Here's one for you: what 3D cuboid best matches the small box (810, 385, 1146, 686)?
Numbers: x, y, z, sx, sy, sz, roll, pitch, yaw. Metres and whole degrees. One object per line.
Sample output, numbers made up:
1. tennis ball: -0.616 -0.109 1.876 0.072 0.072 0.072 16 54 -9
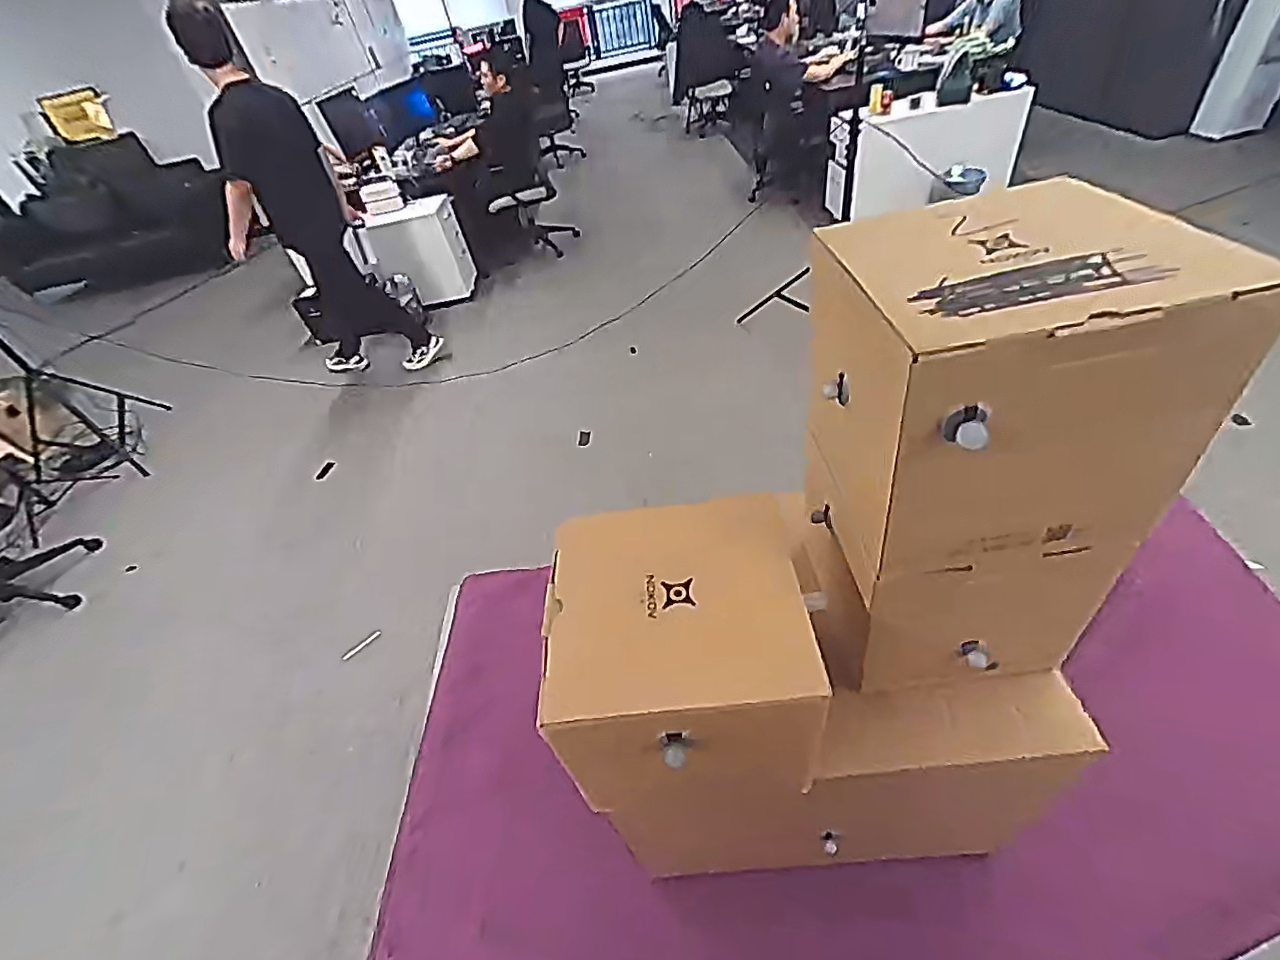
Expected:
1. small box: 0.248 0.047 0.459 0.168 0.176 0.179 -10 42 6
